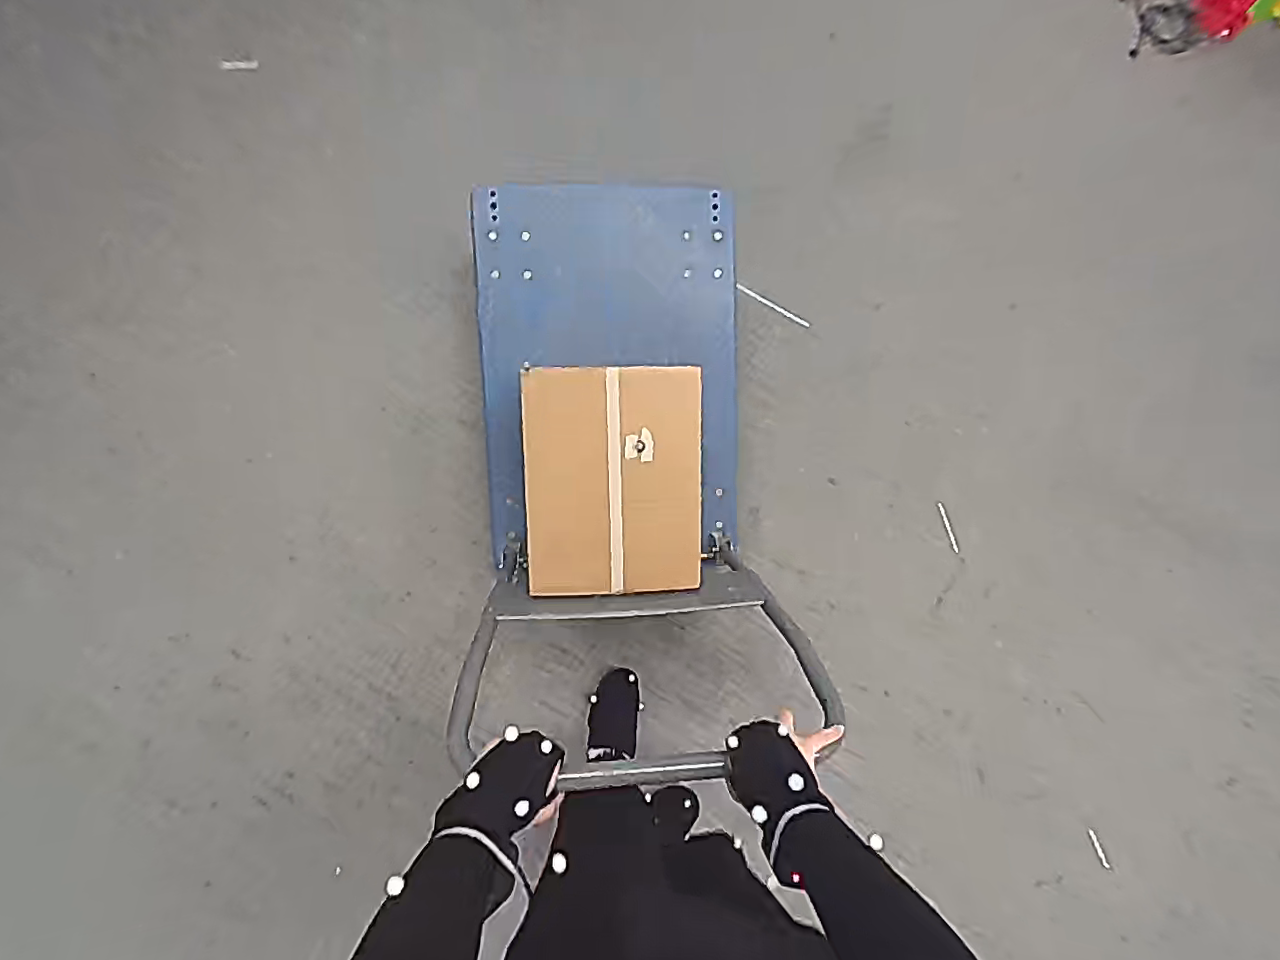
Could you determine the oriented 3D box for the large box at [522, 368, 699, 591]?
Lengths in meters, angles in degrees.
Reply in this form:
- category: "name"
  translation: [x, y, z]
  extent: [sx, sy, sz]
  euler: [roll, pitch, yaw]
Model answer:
- category: "large box"
  translation: [-0.060, -0.015, 1.127]
  extent: [0.320, 0.320, 0.408]
  euler: [-2, 97, -6]
